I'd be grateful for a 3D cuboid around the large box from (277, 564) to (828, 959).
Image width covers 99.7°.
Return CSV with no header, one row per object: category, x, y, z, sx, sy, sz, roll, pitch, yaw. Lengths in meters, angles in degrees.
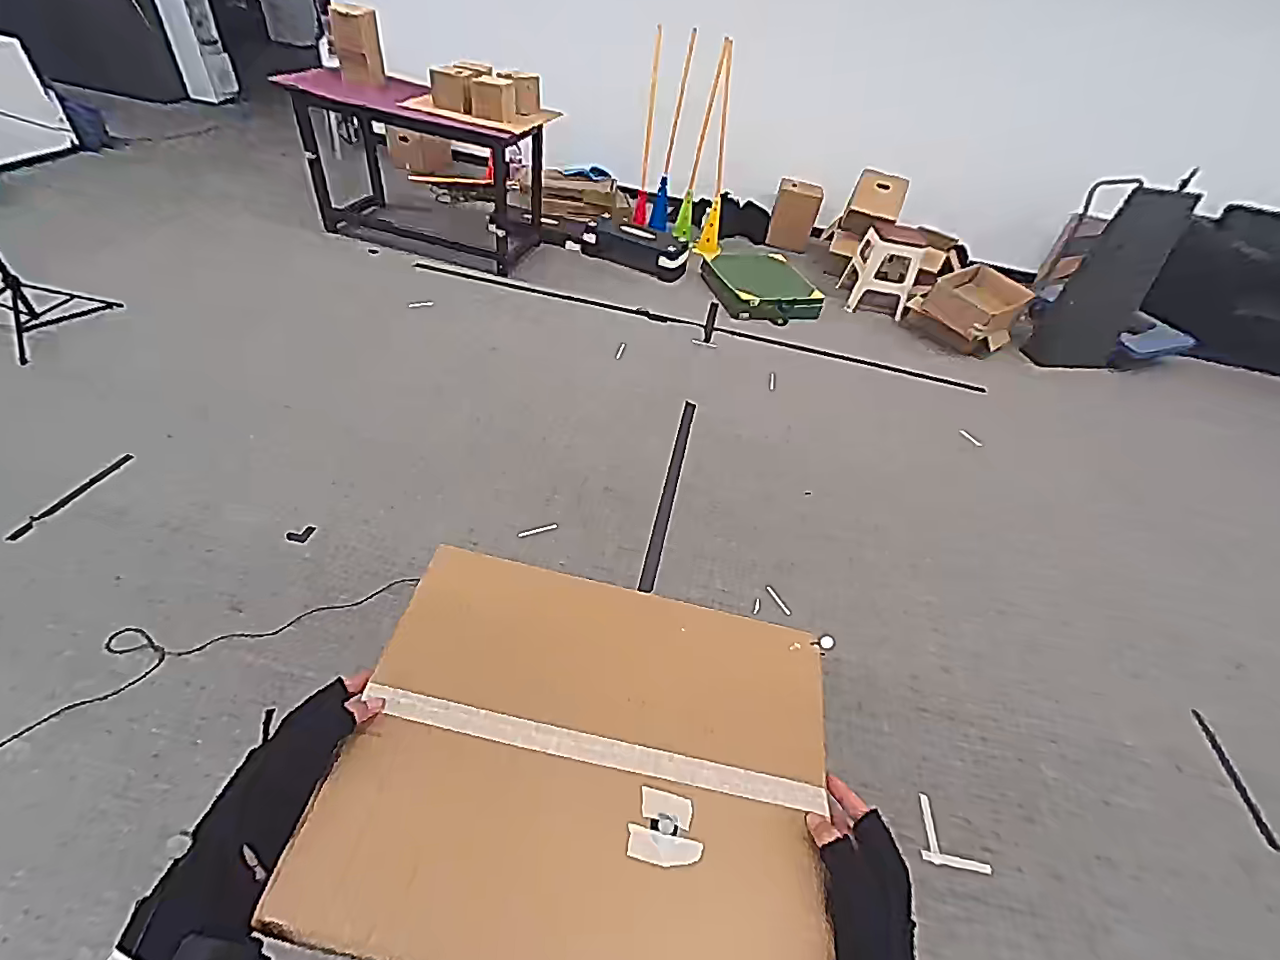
large box,-0.061,0.335,0.582,0.408,0.320,0.320,13,50,-1
